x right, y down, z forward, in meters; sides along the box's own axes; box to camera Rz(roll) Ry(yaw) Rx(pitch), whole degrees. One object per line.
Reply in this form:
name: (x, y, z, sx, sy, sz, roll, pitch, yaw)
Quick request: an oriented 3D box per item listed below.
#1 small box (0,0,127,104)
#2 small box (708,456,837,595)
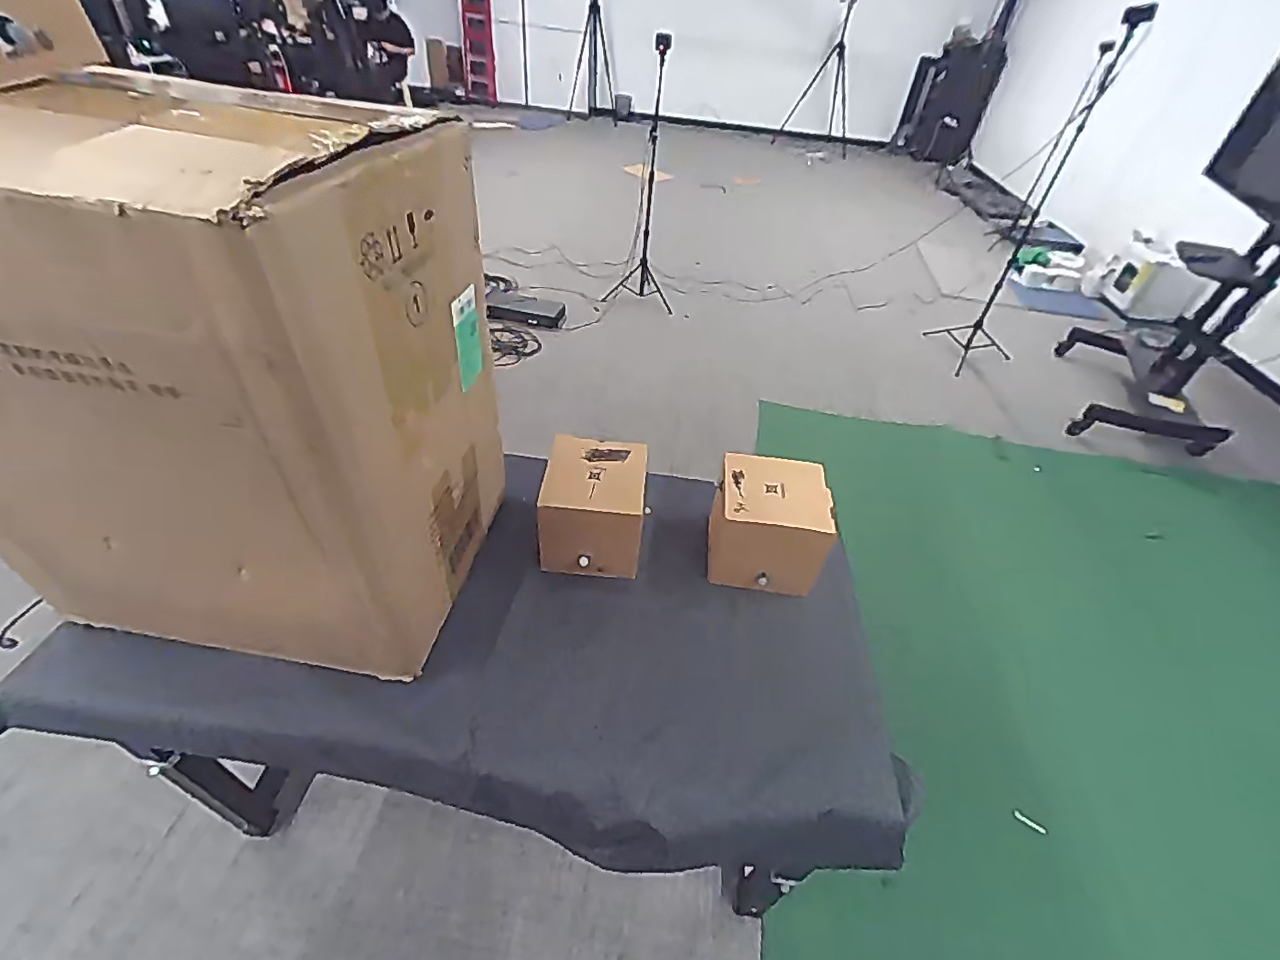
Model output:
small box: (-0.612, -0.433, 0.450, 0.179, 0.176, 0.168, 6, 48, -1)
small box: (0.224, 0.083, 0.954, 0.179, 0.176, 0.168, 8, 42, 2)
